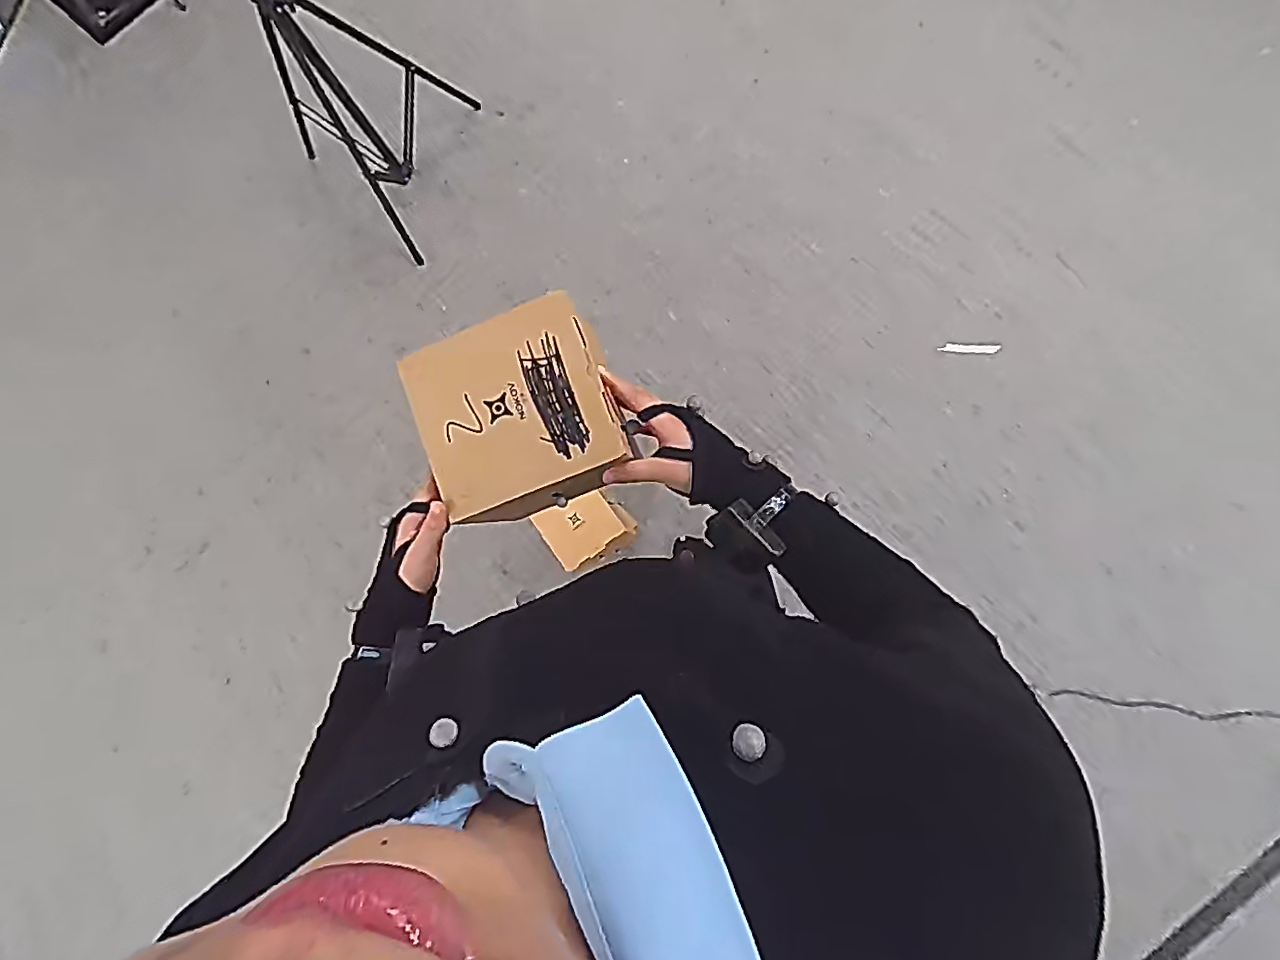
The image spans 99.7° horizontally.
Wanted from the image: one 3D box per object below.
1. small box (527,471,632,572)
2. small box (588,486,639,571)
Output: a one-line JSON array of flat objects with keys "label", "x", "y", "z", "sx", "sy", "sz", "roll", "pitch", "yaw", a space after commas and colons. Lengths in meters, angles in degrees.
[{"label": "small box", "x": -0.138, "y": 0.107, "z": 1.294, "sx": 0.168, "sy": 0.176, "sz": 0.179, "roll": -37, "pitch": 80, "yaw": 0}, {"label": "small box", "x": -0.119, "y": 0.126, "z": 1.455, "sx": 0.168, "sy": 0.176, "sz": 0.179, "roll": -43, "pitch": 78, "yaw": -2}]
